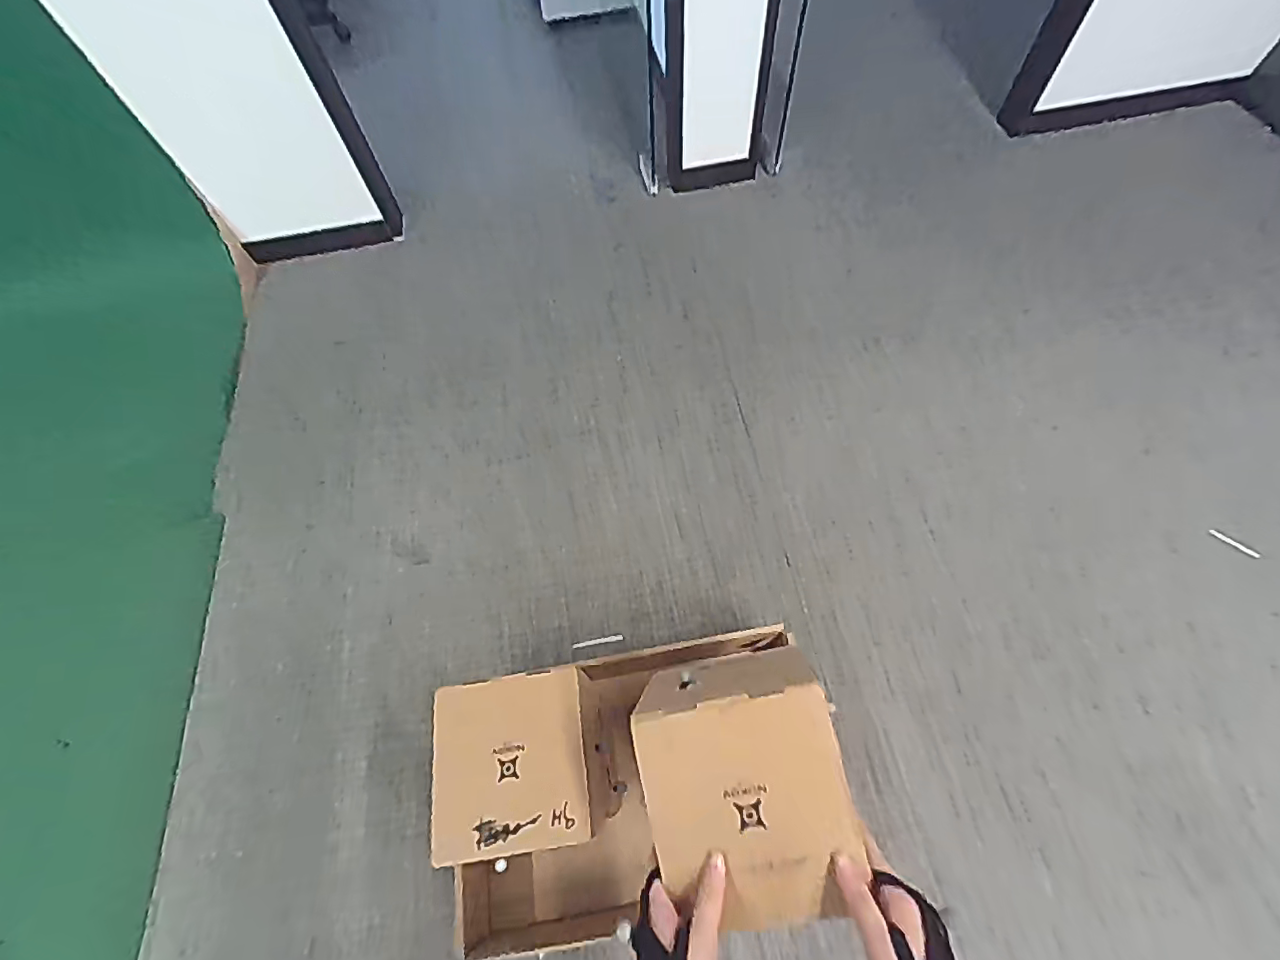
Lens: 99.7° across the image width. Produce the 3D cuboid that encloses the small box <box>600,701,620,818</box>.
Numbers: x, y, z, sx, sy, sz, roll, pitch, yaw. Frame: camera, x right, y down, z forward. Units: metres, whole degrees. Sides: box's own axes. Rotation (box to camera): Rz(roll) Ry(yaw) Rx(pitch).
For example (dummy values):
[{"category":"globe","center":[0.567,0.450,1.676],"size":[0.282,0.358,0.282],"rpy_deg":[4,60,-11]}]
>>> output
[{"category":"small box","center":[-0.127,0.496,0.951],"size":[0.168,0.176,0.179],"rpy_deg":[-7,62,-1]}]

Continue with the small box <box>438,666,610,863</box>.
[{"category":"small box","center":[-0.132,0.342,0.661],"size":[0.168,0.176,0.179],"rpy_deg":[-9,62,-1]}]

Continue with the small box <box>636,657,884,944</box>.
[{"category":"small box","center":[0.103,0.277,0.511],"size":[0.168,0.176,0.179],"rpy_deg":[-14,82,8]}]
